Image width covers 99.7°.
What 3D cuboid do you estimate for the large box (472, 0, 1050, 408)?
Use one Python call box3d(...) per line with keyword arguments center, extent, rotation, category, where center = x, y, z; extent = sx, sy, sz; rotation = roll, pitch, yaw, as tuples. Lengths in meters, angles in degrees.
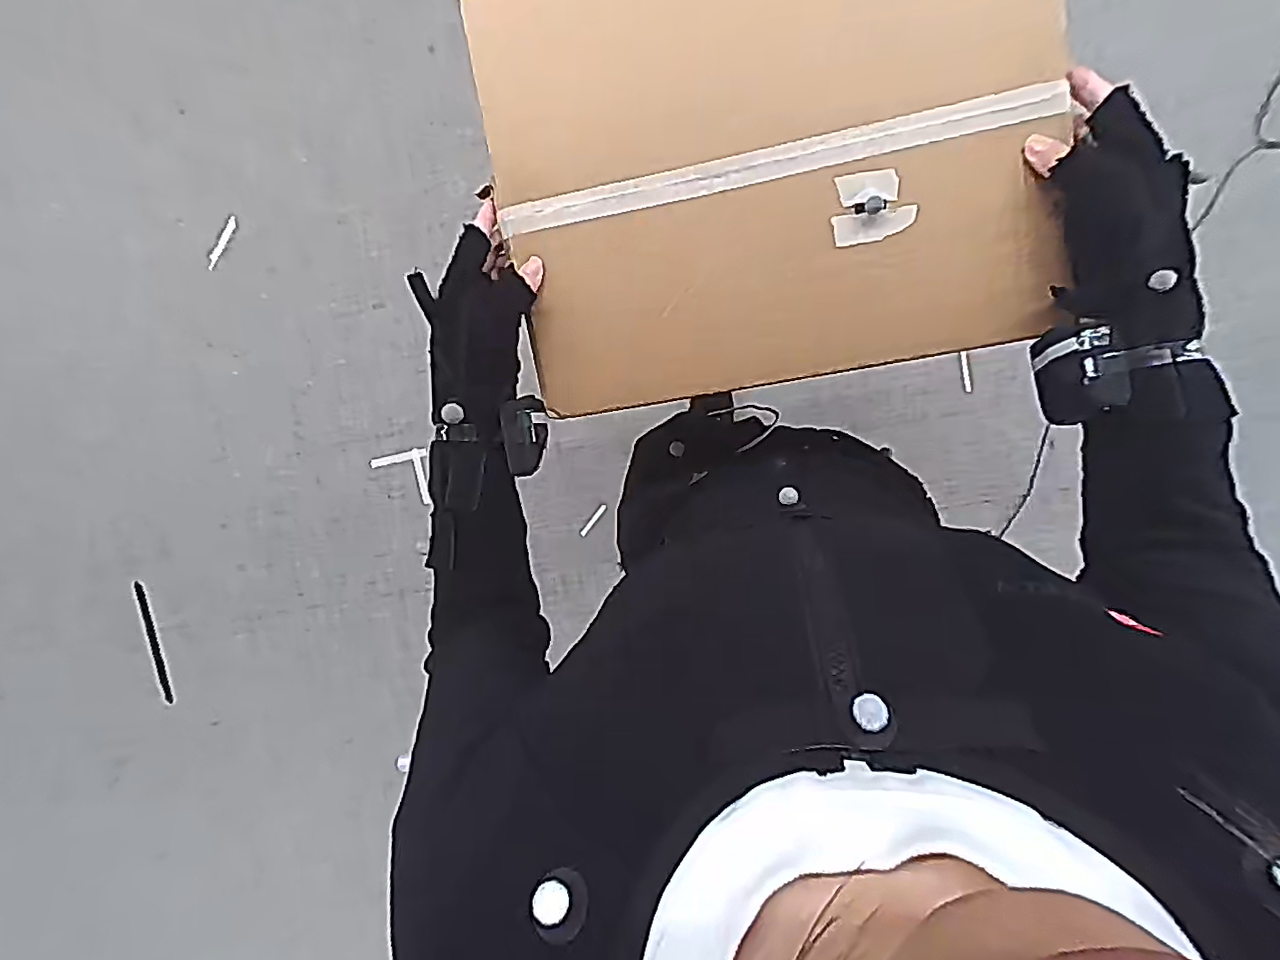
box3d(center=(0.104, -0.270, 0.555), extent=(0.408, 0.320, 0.320), rotation=(-9, 101, 7), category="large box")
